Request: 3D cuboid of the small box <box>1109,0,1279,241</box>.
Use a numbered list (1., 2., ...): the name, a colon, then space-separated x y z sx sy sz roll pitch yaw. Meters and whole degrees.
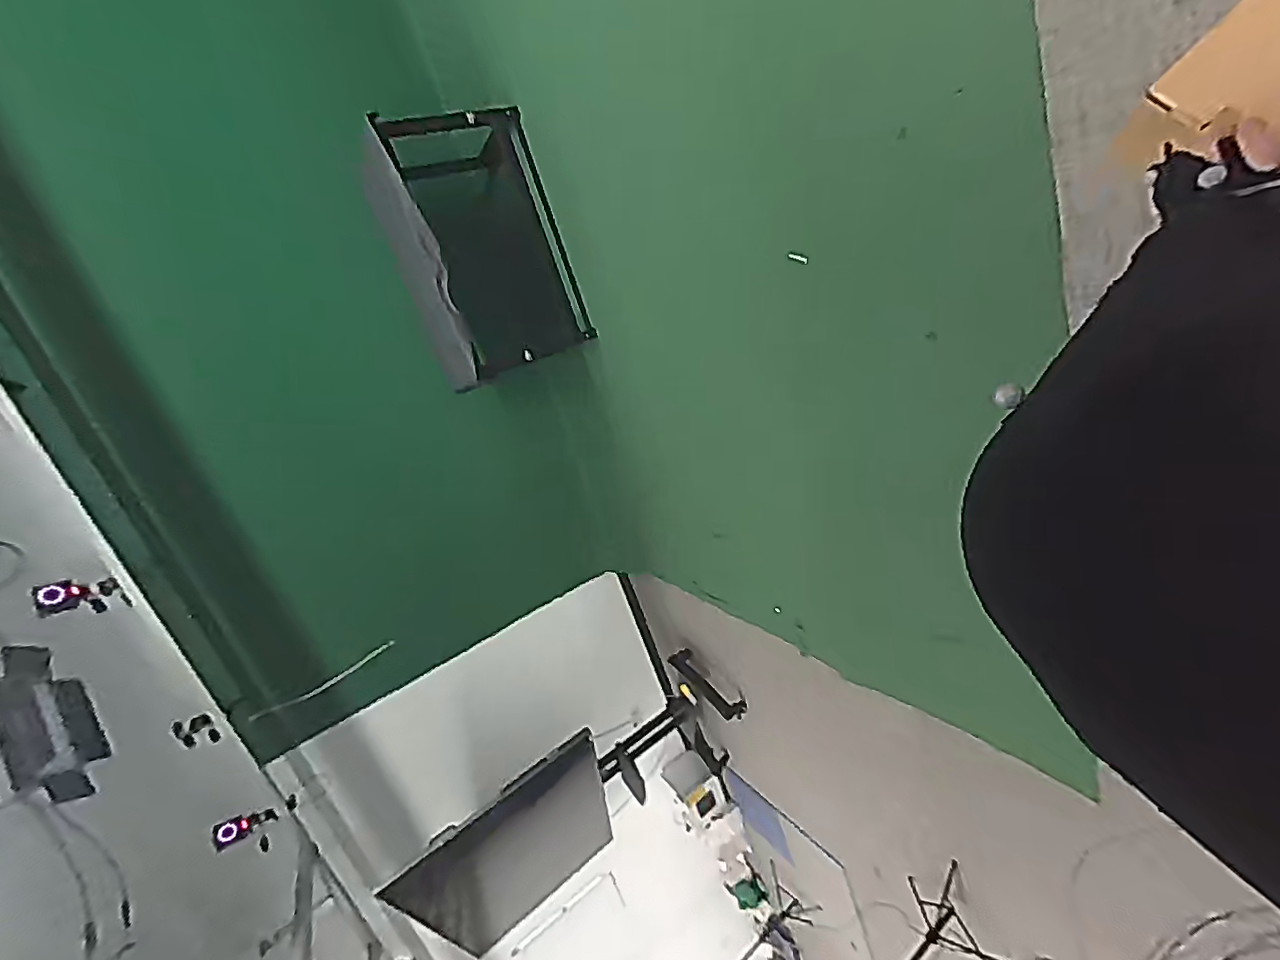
1. small box: 0.615 -0.367 0.515 0.168 0.179 0.176 49 120 16
